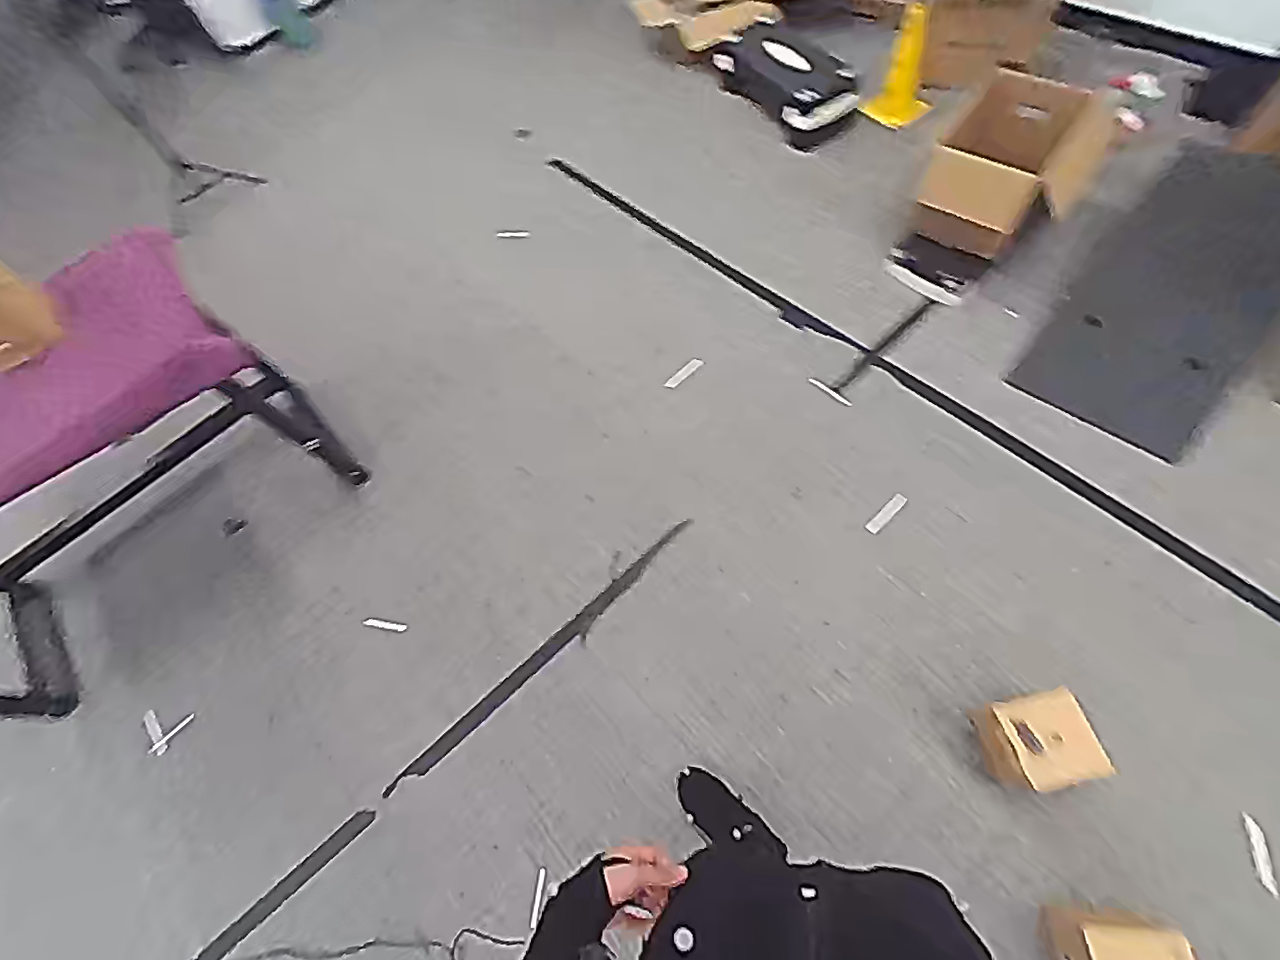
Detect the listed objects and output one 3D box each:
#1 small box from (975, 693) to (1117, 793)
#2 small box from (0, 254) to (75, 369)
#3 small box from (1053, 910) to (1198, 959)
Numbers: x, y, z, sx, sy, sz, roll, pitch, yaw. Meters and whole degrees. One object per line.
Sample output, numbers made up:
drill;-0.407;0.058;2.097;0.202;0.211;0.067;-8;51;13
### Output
small box;0.890;0.590;1.214;0.179;0.176;0.168;-15;63;2
small box;-1.546;-0.407;1.317;0.168;0.176;0.179;-35;65;-7
small box;0.931;0.951;1.033;0.179;0.176;0.168;-3;65;11
